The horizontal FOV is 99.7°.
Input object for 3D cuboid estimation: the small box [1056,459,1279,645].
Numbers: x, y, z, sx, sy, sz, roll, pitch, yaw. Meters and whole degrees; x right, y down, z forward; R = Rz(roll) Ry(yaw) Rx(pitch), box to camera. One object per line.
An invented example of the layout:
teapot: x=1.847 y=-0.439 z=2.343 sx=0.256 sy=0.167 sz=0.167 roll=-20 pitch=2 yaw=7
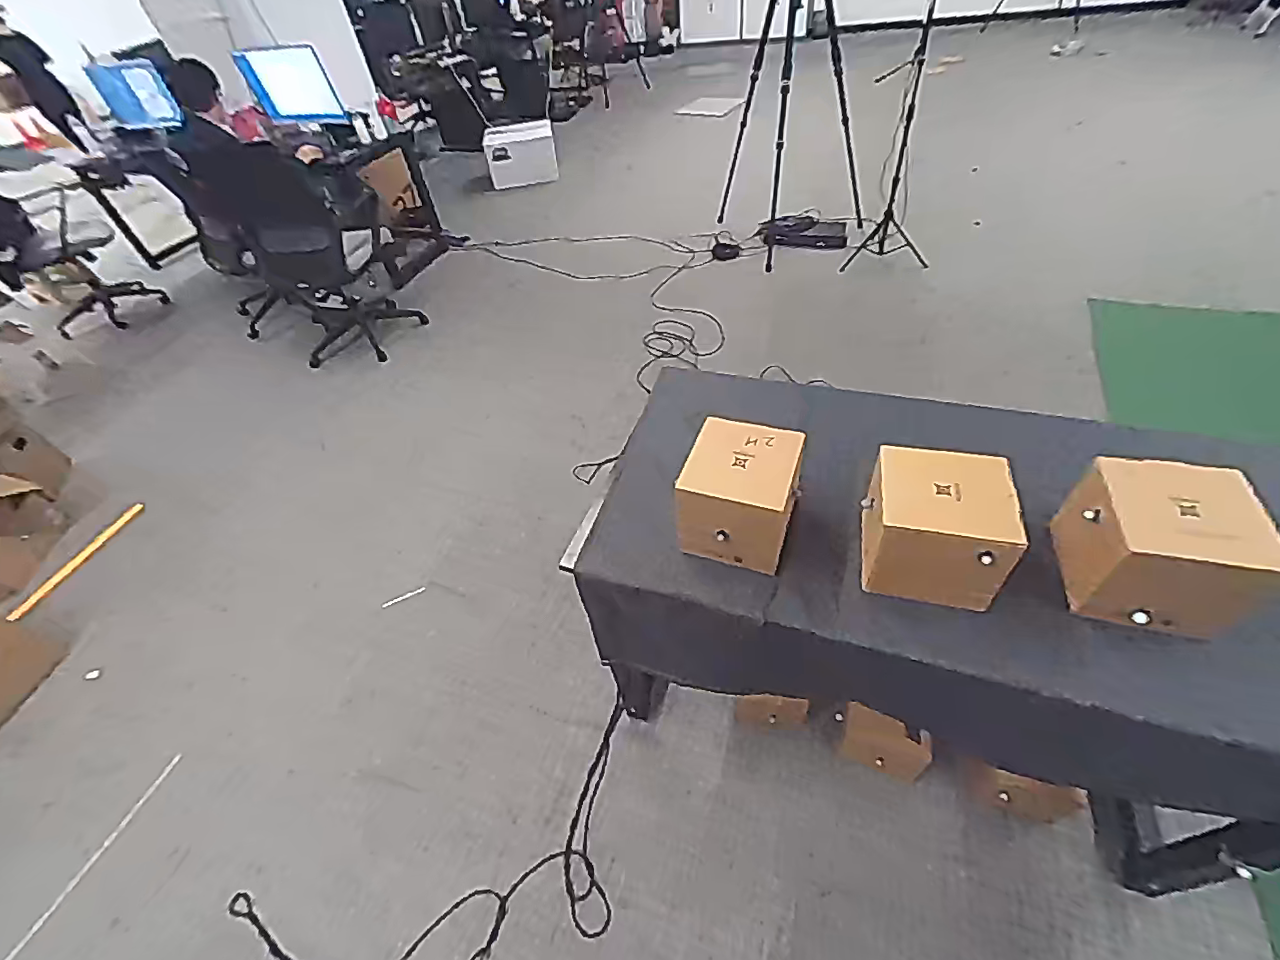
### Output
small box: x=0.715 y=0.098 z=0.750 sx=0.168 sy=0.176 sz=0.179 roll=9 pitch=49 yaw=17

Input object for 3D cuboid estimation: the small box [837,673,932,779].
small box: x=0.586 y=0.596 z=1.303 sx=0.179 sy=0.176 sz=0.168 roll=9 pitch=49 yaw=18

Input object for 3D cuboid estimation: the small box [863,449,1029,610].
small box: x=0.441 y=0.076 z=0.814 sx=0.179 sy=0.176 sz=0.168 roll=8 pitch=48 yaw=15

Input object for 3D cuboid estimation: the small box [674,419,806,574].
small box: x=0.167 y=0.028 z=0.895 sx=0.168 sy=0.176 sz=0.179 roll=13 pitch=50 yaw=19
